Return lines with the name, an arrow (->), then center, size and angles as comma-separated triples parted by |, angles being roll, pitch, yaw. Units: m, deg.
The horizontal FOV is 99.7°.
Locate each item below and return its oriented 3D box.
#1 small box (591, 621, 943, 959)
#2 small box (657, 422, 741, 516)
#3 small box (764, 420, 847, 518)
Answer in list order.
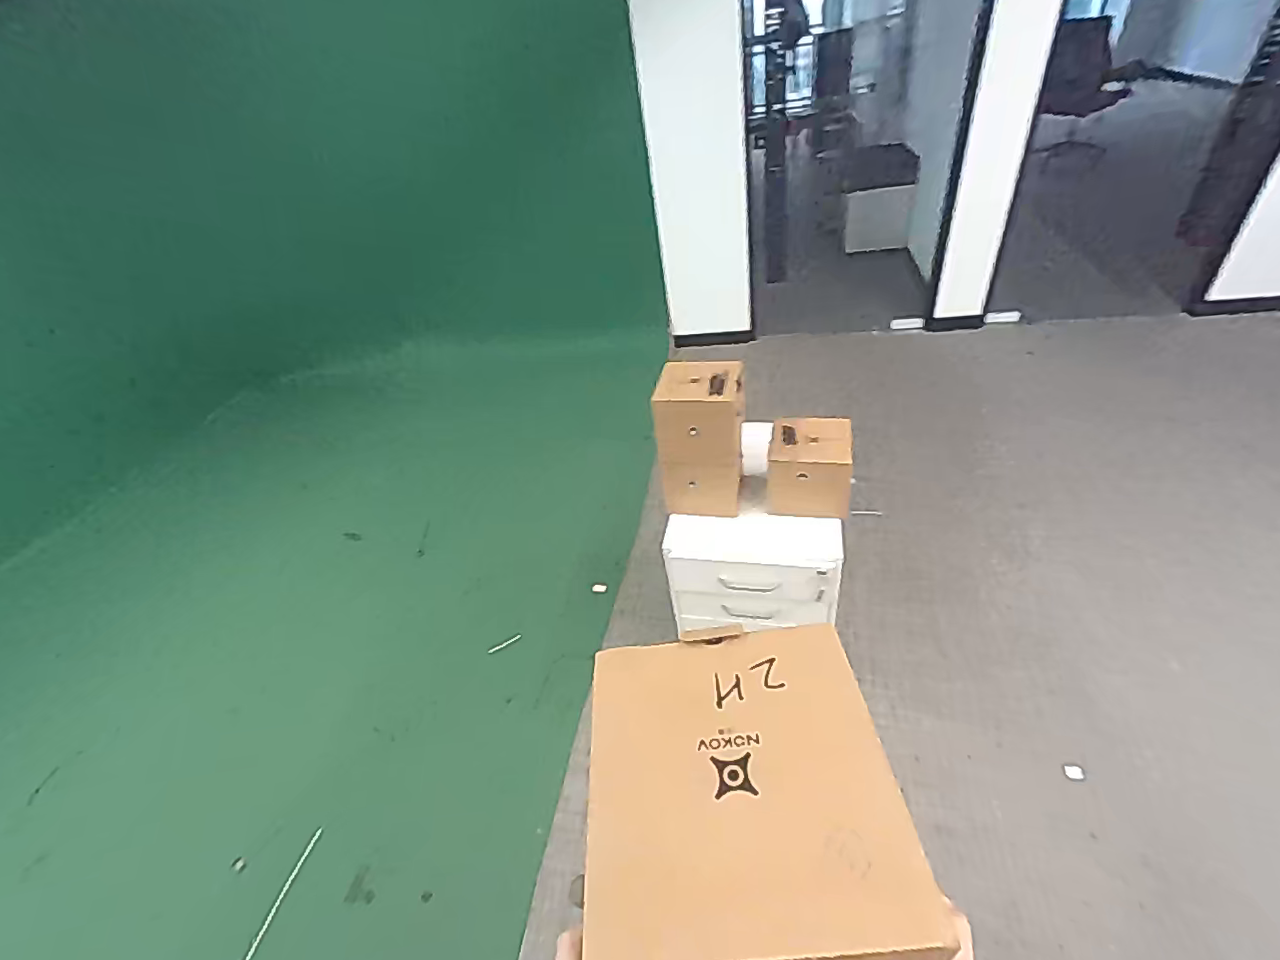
small box -> 0.068, 0.222, 0.360 | 0.168, 0.176, 0.179 | -6, 35, 4
small box -> 0.151, -0.028, 1.328 | 0.179, 0.176, 0.168 | 3, 42, 15
small box -> 0.389, -0.027, 1.272 | 0.179, 0.176, 0.168 | 3, 42, 17
